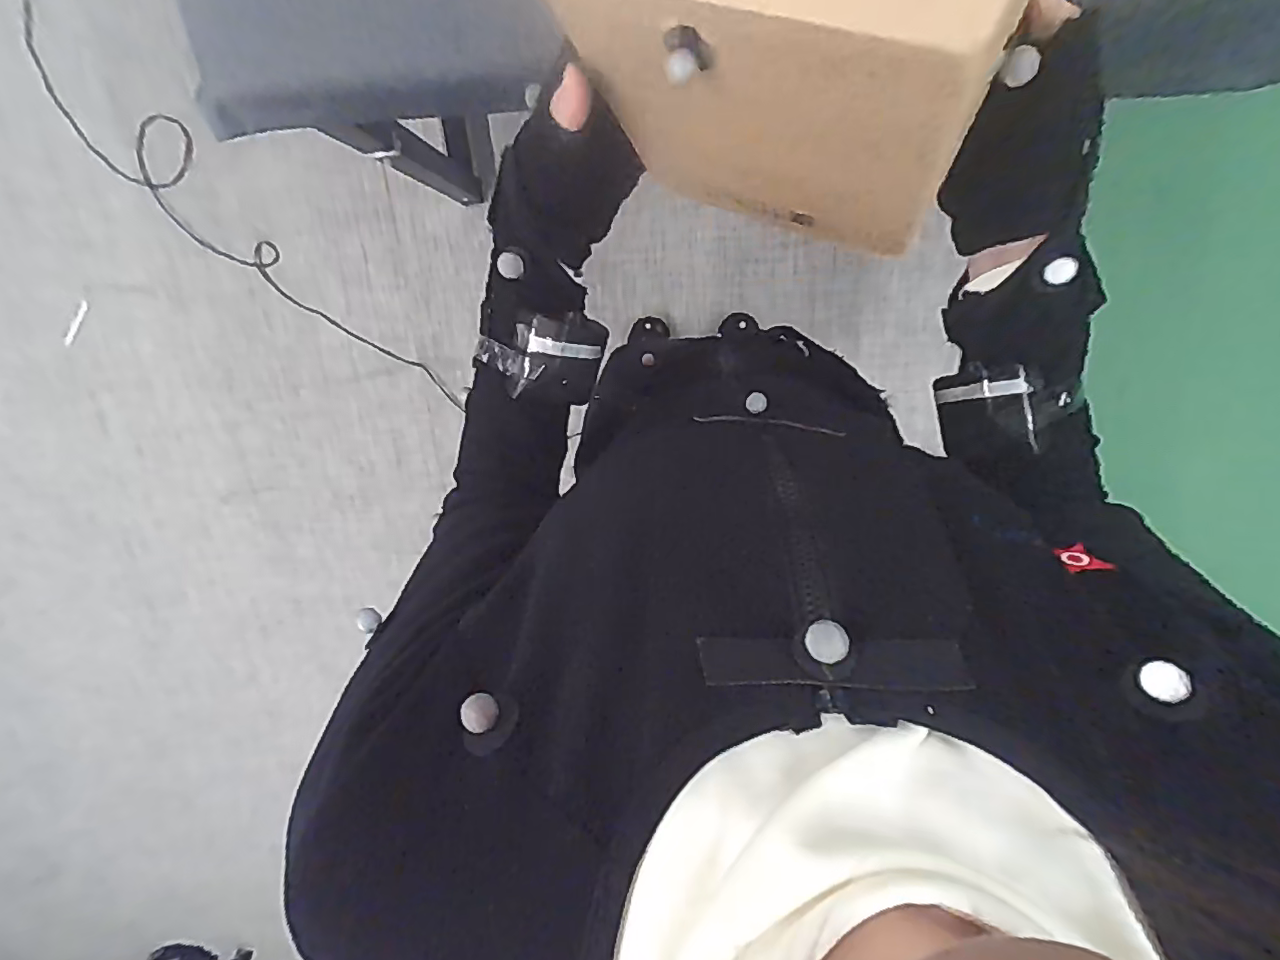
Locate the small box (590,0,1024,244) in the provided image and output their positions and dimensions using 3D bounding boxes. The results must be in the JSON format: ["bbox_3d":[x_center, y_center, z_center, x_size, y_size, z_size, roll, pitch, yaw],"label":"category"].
[{"bbox_3d":[0.091,-0.243,0.247,0.168,0.176,0.179,25,98,17],"label":"small box"}]
